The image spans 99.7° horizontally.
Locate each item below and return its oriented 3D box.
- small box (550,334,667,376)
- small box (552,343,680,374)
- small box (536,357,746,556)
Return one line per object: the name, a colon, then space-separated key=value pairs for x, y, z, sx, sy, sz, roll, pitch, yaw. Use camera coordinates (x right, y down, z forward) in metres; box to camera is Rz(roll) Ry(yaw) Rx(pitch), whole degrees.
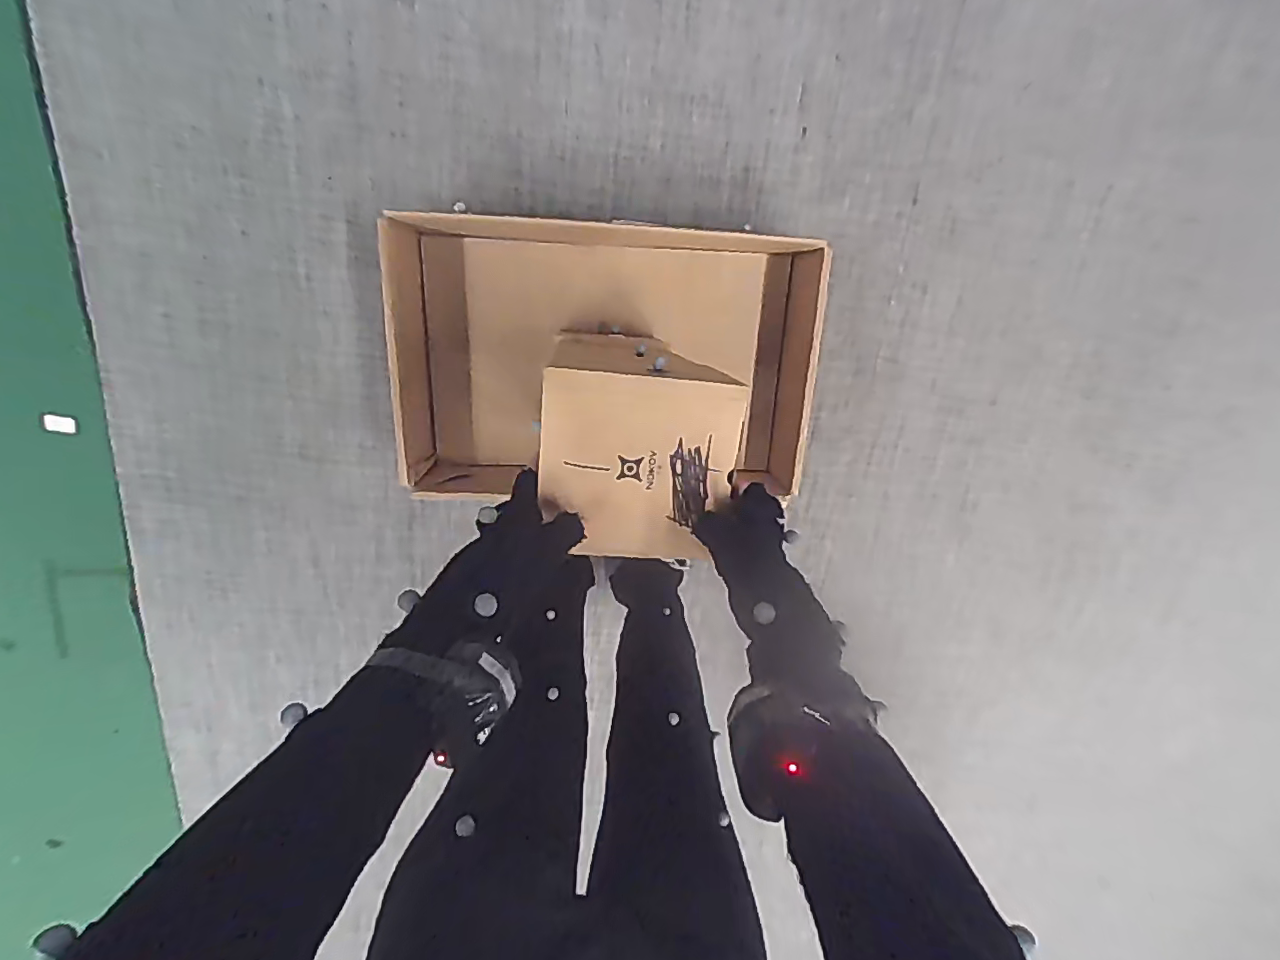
small box: x=-0.056 y=-0.133 z=0.856 sx=0.168 sy=0.176 sz=0.179 roll=2 pitch=106 yaw=-7
small box: x=-0.033 y=-0.075 z=0.705 sx=0.168 sy=0.176 sz=0.179 roll=4 pitch=108 yaw=-8
small box: x=-0.009 y=-0.034 z=0.564 sx=0.179 sy=0.176 sz=0.168 roll=5 pitch=106 yaw=-7
